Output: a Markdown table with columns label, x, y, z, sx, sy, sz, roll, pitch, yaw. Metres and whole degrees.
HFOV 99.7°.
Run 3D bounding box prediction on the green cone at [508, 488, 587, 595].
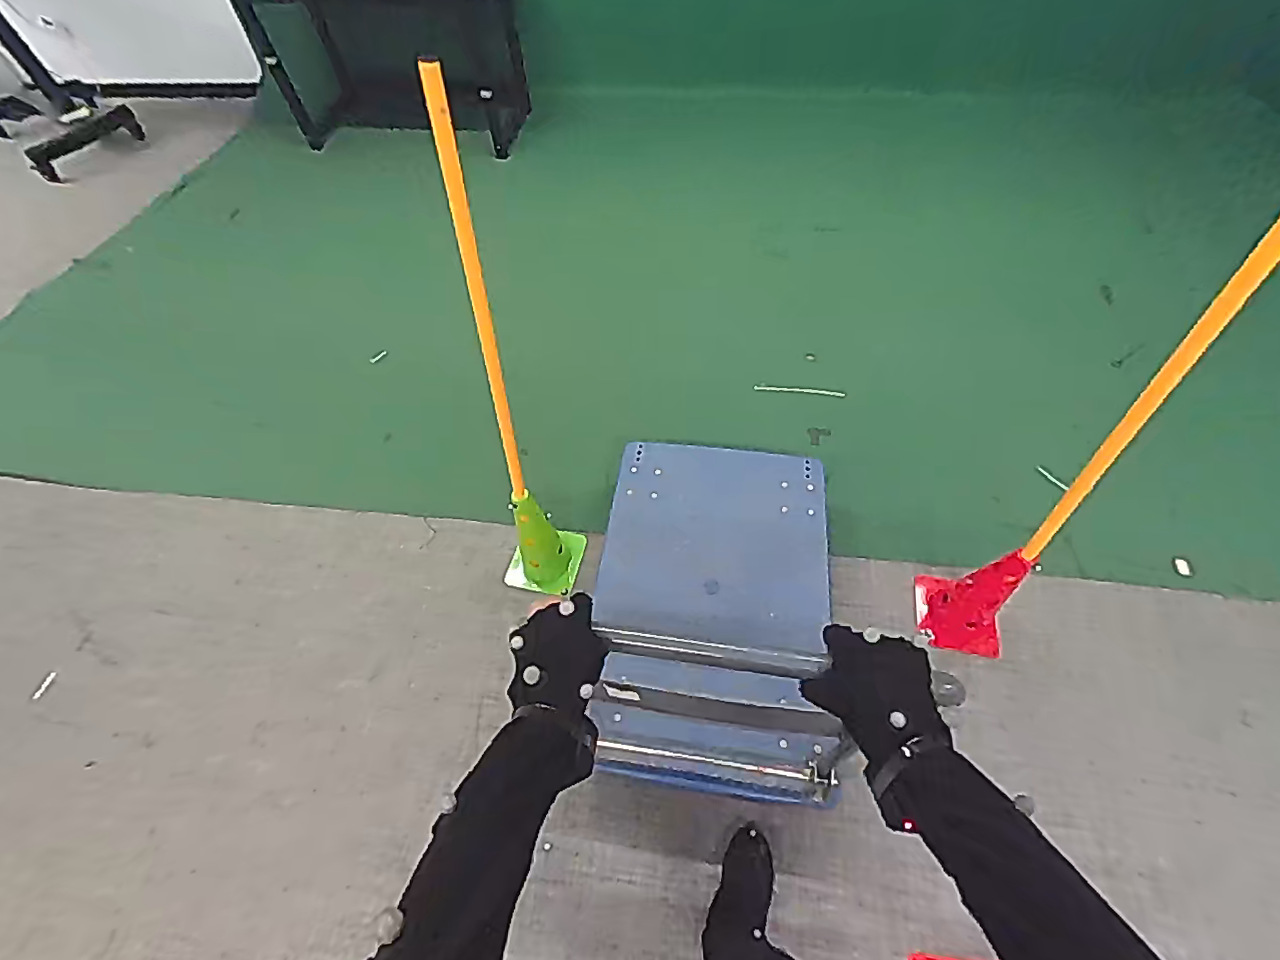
| label | x | y | z | sx | sy | sz | roll | pitch | yaw |
| --- | --- | --- | --- | --- | --- | --- | --- | --- | --- |
| green cone | -0.281 | 0.136 | 1.460 | 0.202 | 0.368 | 0.200 | 9 | 56 | 10 |

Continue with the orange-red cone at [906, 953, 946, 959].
| label | x | y | z | sx | sy | sz | roll | pitch | yaw |
| --- | --- | --- | --- | --- | --- | --- | --- | --- | --- |
| orange-red cone | 0.596 | 0.928 | 0.871 | 0.199 | 0.360 | 0.198 | 4 | 55 | 8 |
